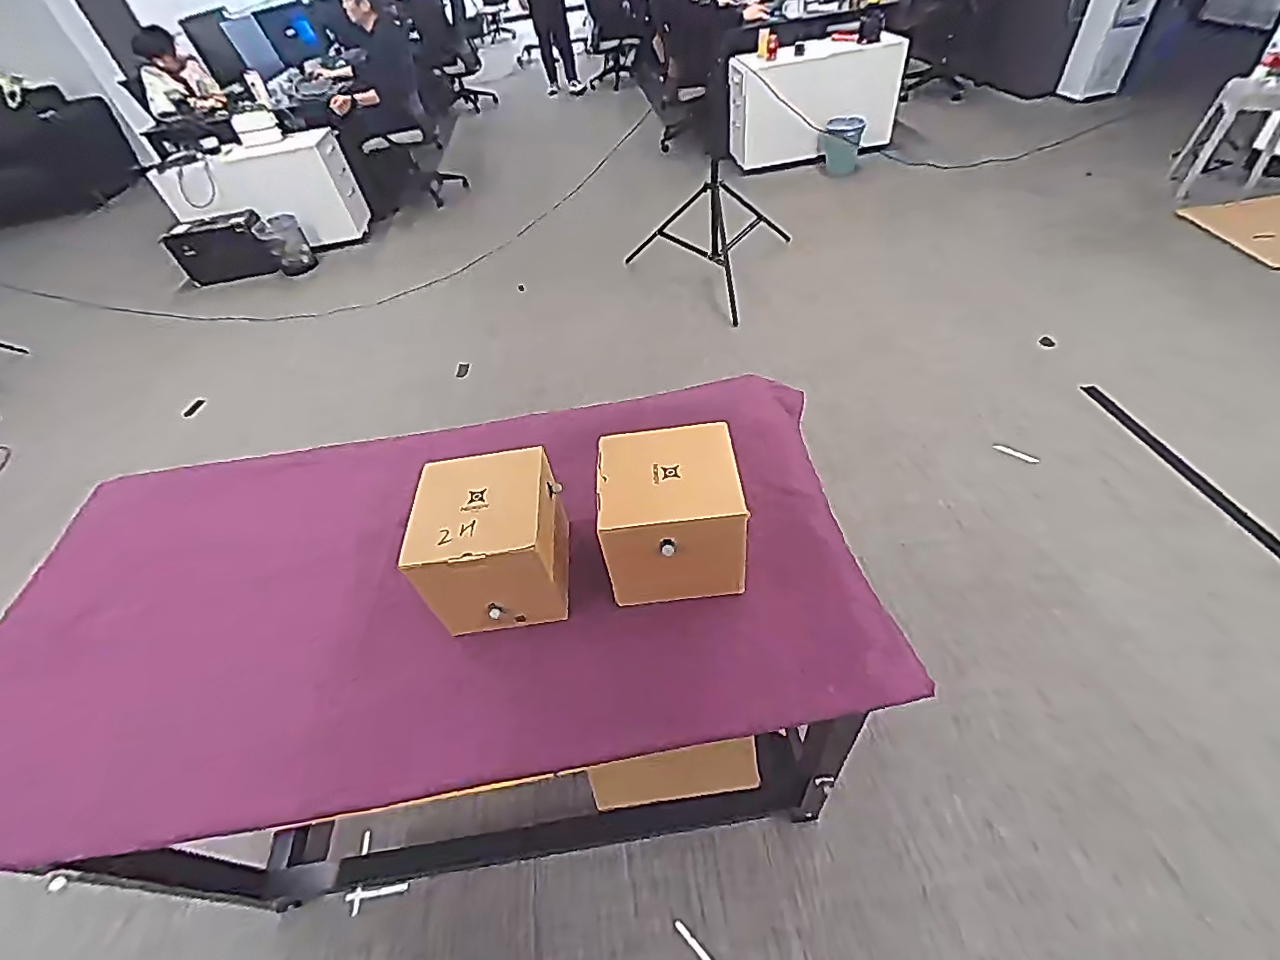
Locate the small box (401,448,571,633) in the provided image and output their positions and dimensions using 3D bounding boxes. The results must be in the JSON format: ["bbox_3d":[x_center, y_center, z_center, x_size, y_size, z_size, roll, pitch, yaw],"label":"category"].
[{"bbox_3d":[-0.194,0.084,0.738,0.168,0.176,0.179,-9,46,2],"label":"small box"}]

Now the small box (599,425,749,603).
[{"bbox_3d":[0.045,0.049,0.734,0.179,0.176,0.168,-7,45,4],"label":"small box"}]
